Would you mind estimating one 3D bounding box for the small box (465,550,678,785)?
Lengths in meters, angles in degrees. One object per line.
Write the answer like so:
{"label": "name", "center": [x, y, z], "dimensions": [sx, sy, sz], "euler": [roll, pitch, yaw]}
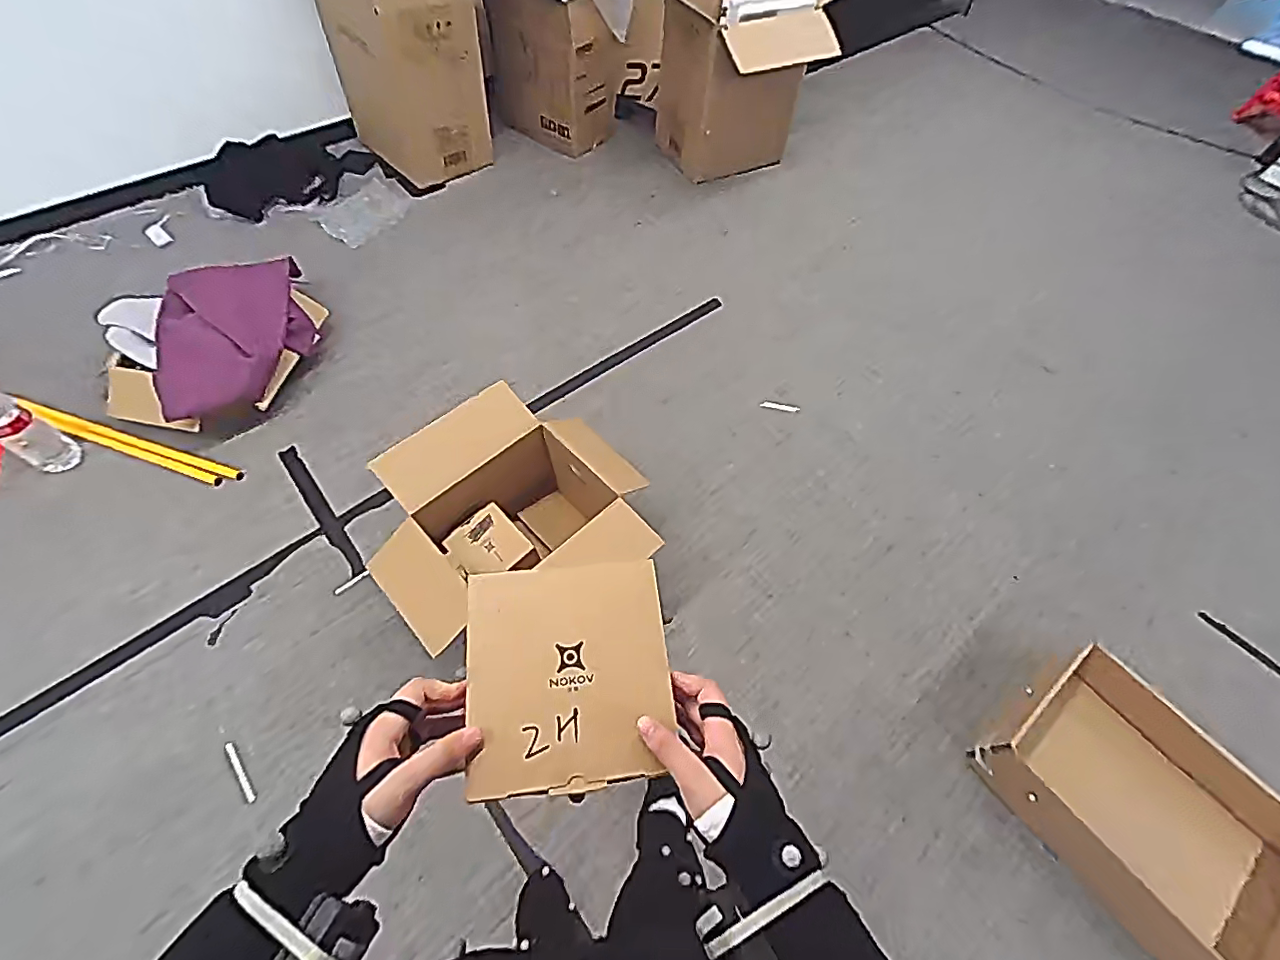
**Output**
{"label": "small box", "center": [-0.069, 0.183, 0.520], "dimensions": [0.168, 0.176, 0.179], "euler": [-4, 64, -9]}
